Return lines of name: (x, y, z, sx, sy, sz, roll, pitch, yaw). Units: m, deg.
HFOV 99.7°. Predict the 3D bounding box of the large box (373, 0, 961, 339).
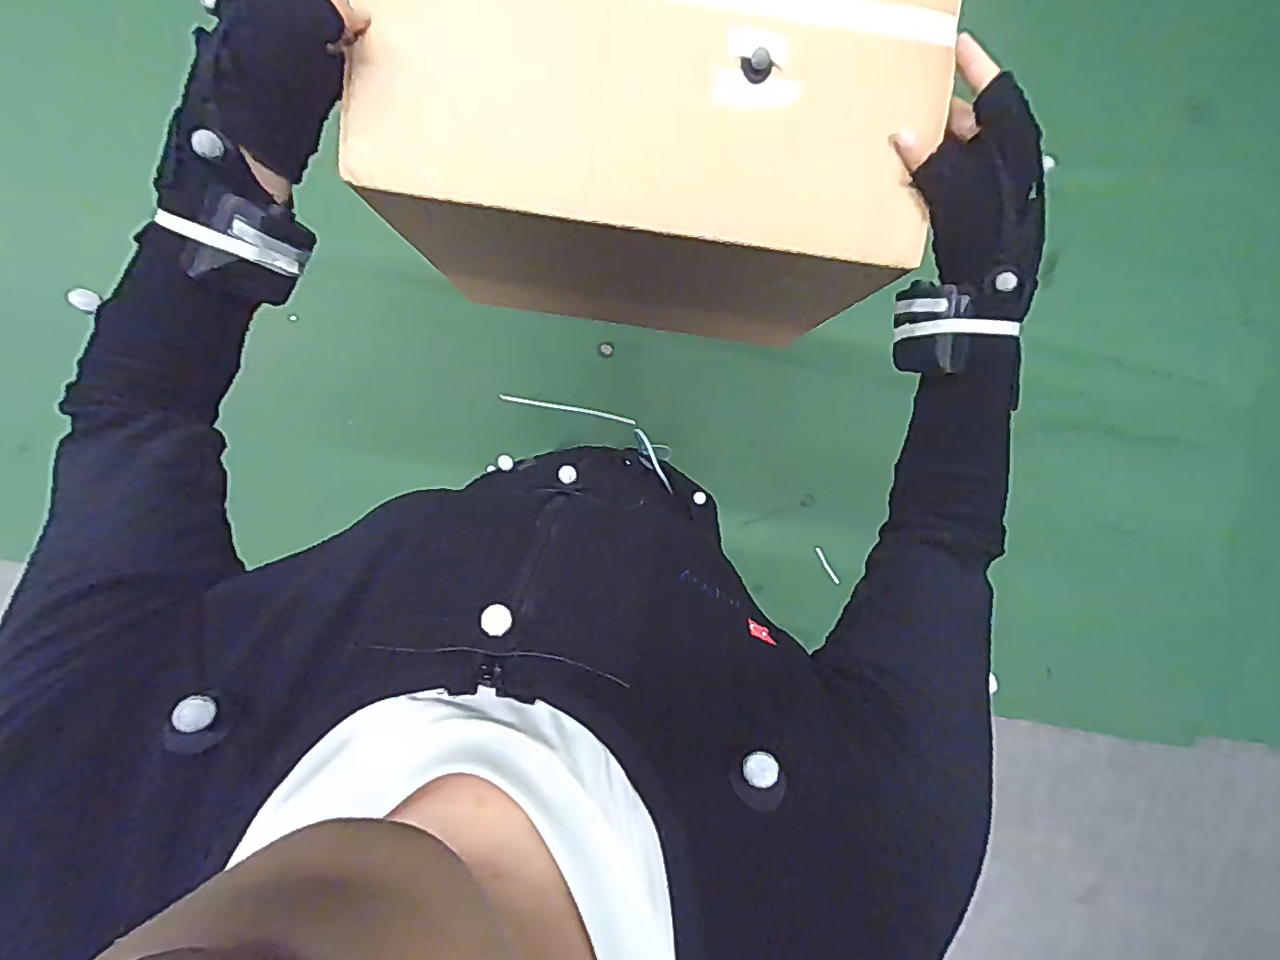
large box: (0.018, -0.342, 0.523, 0.408, 0.320, 0.320, 7, 94, -4)
